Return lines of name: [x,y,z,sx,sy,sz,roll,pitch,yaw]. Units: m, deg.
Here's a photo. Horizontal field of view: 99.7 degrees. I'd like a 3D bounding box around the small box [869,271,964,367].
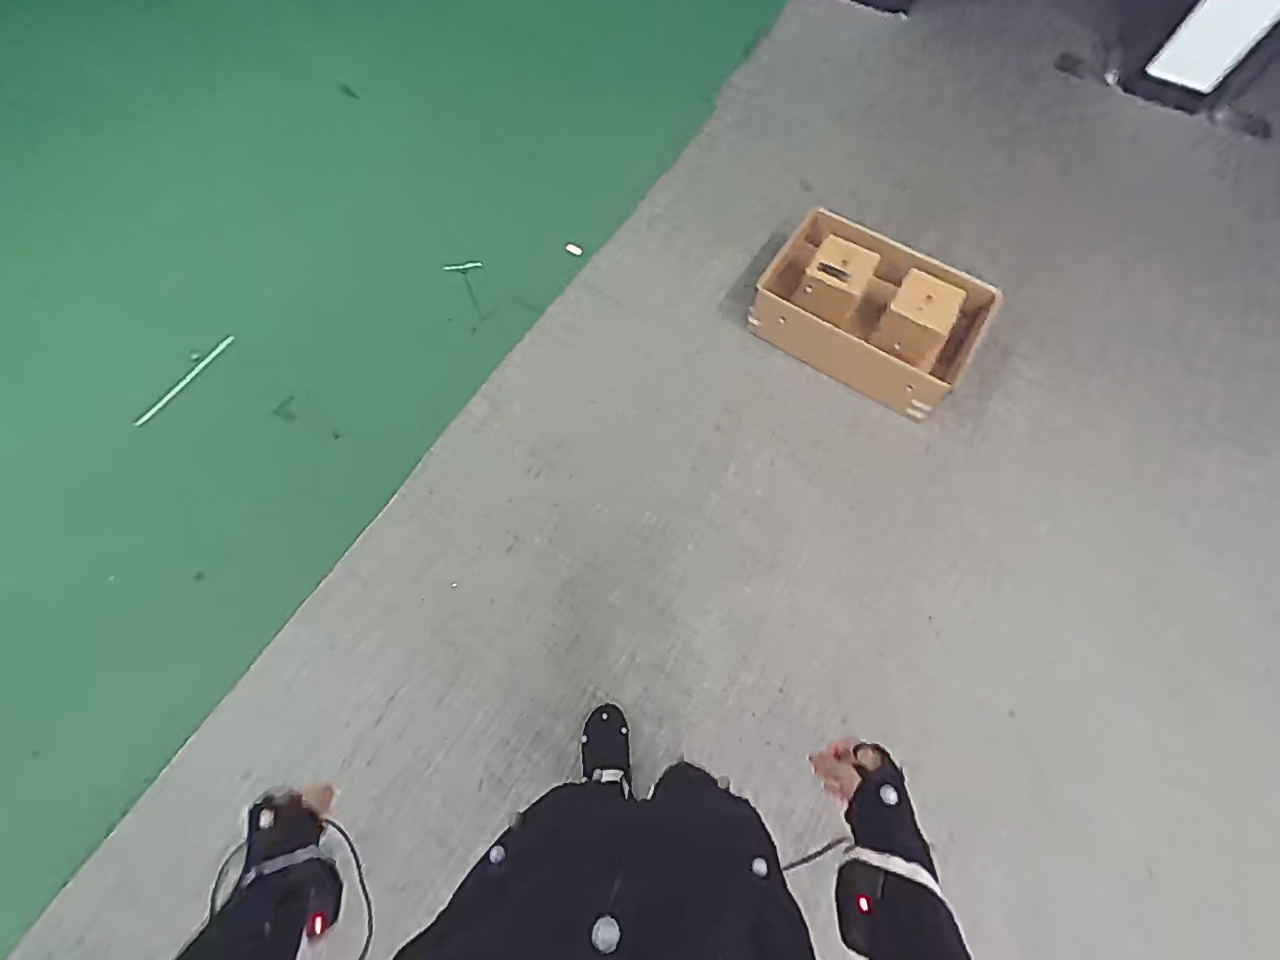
small box: [0.808,-0.471,1.599,0.168,0.176,0.179,31,72,13]
